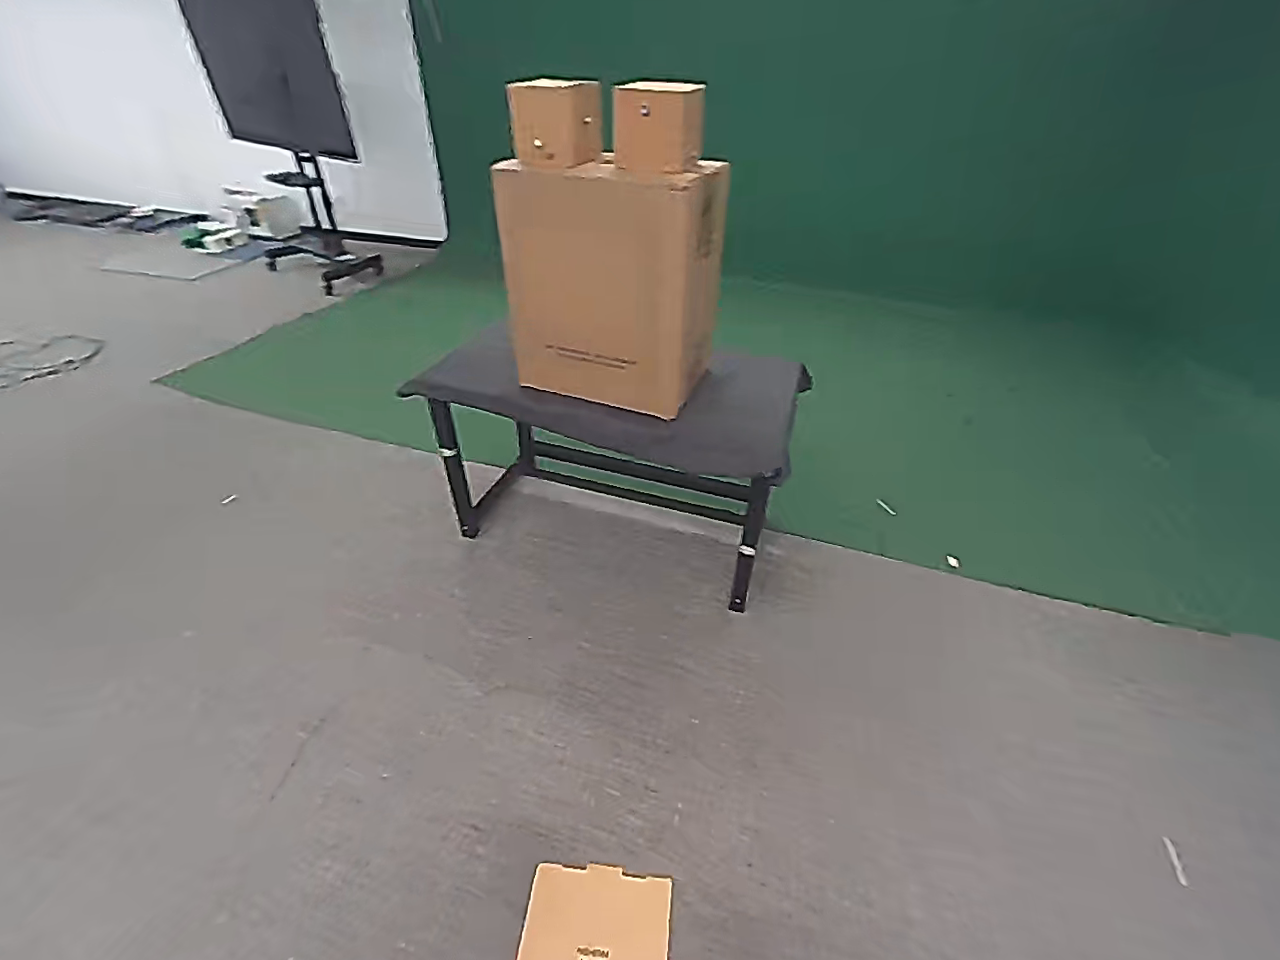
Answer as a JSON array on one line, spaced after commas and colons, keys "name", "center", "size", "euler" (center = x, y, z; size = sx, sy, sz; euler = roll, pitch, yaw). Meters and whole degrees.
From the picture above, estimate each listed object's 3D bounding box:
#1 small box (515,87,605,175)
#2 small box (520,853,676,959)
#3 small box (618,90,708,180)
[{"name": "small box", "center": [-0.201, -0.908, 1.404], "size": [0.168, 0.176, 0.179], "euler": [15, 42, 18]}, {"name": "small box", "center": [-0.049, 0.582, 0.642], "size": [0.168, 0.176, 0.179], "euler": [4, 40, 5]}, {"name": "small box", "center": [0.054, -0.859, 1.347], "size": [0.179, 0.176, 0.168], "euler": [16, 43, 15]}]
